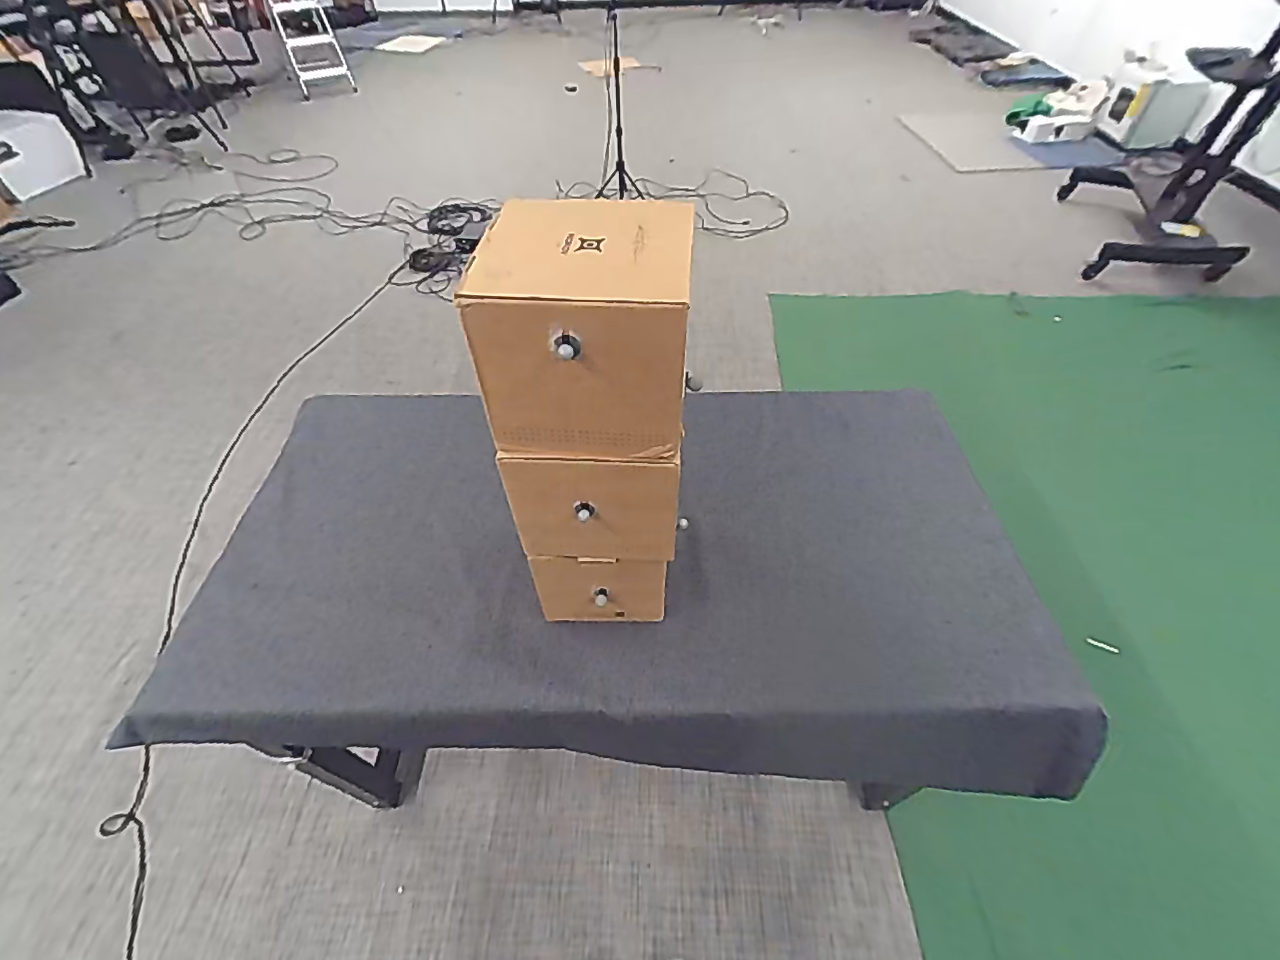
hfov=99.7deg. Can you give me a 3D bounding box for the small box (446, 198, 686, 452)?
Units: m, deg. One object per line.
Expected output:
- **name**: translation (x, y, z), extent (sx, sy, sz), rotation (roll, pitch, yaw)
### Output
- **small box**: translation (-0.049, -0.139, 0.501), extent (0.179, 0.176, 0.168), rotation (2, 51, 3)

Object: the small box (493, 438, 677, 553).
- **small box**: translation (-0.046, -0.029, 0.620), extent (0.179, 0.176, 0.168), rotation (0, 49, 4)

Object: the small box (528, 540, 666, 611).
- **small box**: translation (-0.048, 0.072, 0.750), extent (0.168, 0.176, 0.179), rotation (-1, 50, 1)
